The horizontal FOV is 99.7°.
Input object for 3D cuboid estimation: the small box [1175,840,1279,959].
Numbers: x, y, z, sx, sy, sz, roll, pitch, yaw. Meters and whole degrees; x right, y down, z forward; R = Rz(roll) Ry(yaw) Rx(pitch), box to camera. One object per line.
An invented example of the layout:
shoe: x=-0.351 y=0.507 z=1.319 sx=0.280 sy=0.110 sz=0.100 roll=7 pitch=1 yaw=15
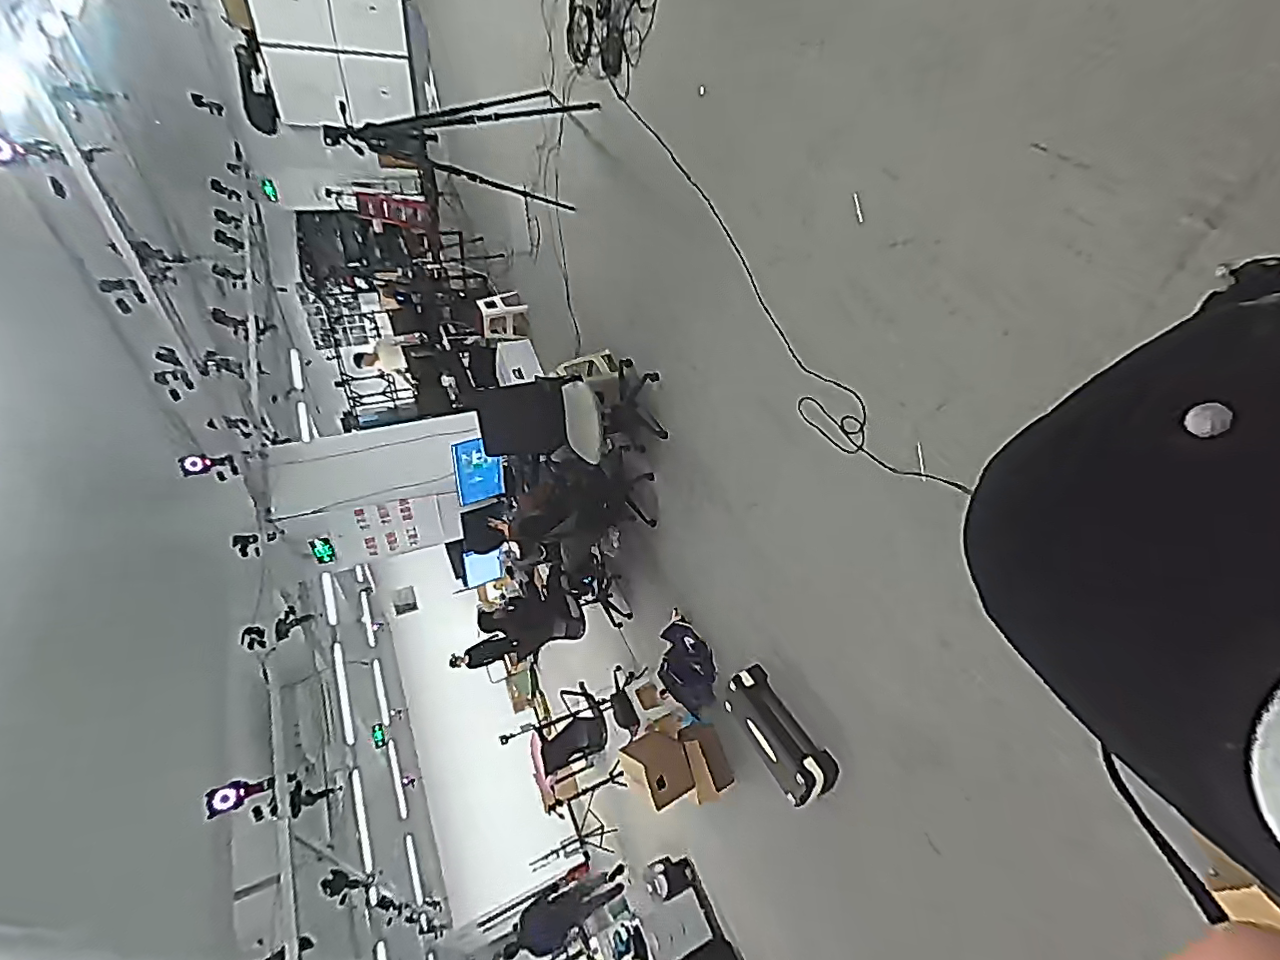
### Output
small box: x=1.418 y=0.967 z=1.240 sx=0.168 sy=0.176 sz=0.179 roll=55 pitch=148 yaw=34
